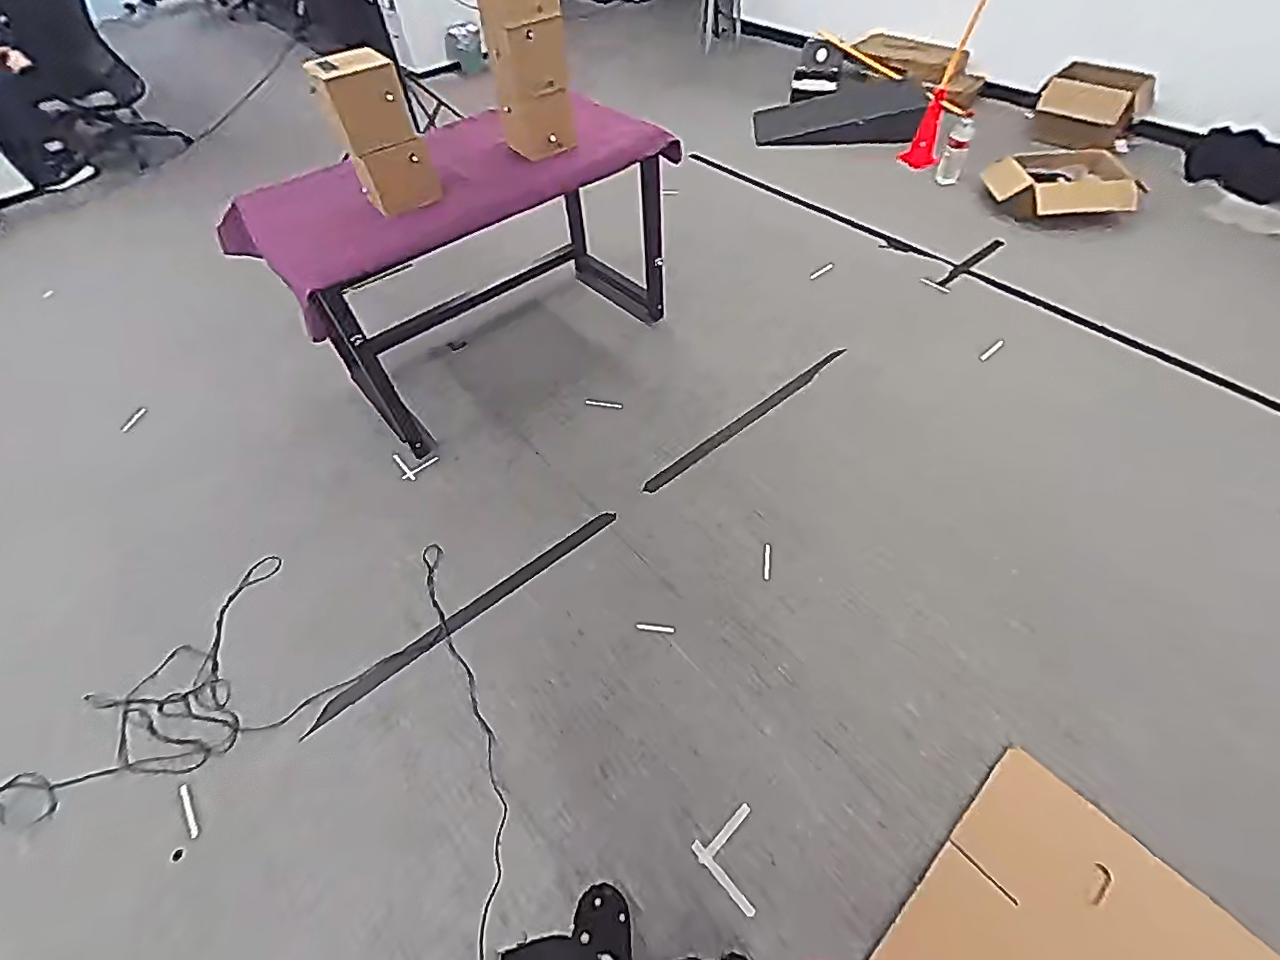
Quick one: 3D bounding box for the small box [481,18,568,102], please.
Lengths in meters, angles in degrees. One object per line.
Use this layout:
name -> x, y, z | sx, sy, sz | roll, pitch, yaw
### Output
small box -> -0.328, -1.220, 1.557 | 0.168, 0.176, 0.179 | -31, 57, -18

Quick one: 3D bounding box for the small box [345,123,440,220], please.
small box -> -0.686, -0.866, 1.521 | 0.179, 0.176, 0.168 | -32, 57, -19

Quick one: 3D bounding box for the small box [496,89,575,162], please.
small box -> -0.322, -1.125, 1.691 | 0.168, 0.176, 0.179 | -33, 58, -19

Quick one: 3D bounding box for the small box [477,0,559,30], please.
small box -> -0.332, -1.314, 1.423 | 0.168, 0.176, 0.179 | -32, 57, -18
